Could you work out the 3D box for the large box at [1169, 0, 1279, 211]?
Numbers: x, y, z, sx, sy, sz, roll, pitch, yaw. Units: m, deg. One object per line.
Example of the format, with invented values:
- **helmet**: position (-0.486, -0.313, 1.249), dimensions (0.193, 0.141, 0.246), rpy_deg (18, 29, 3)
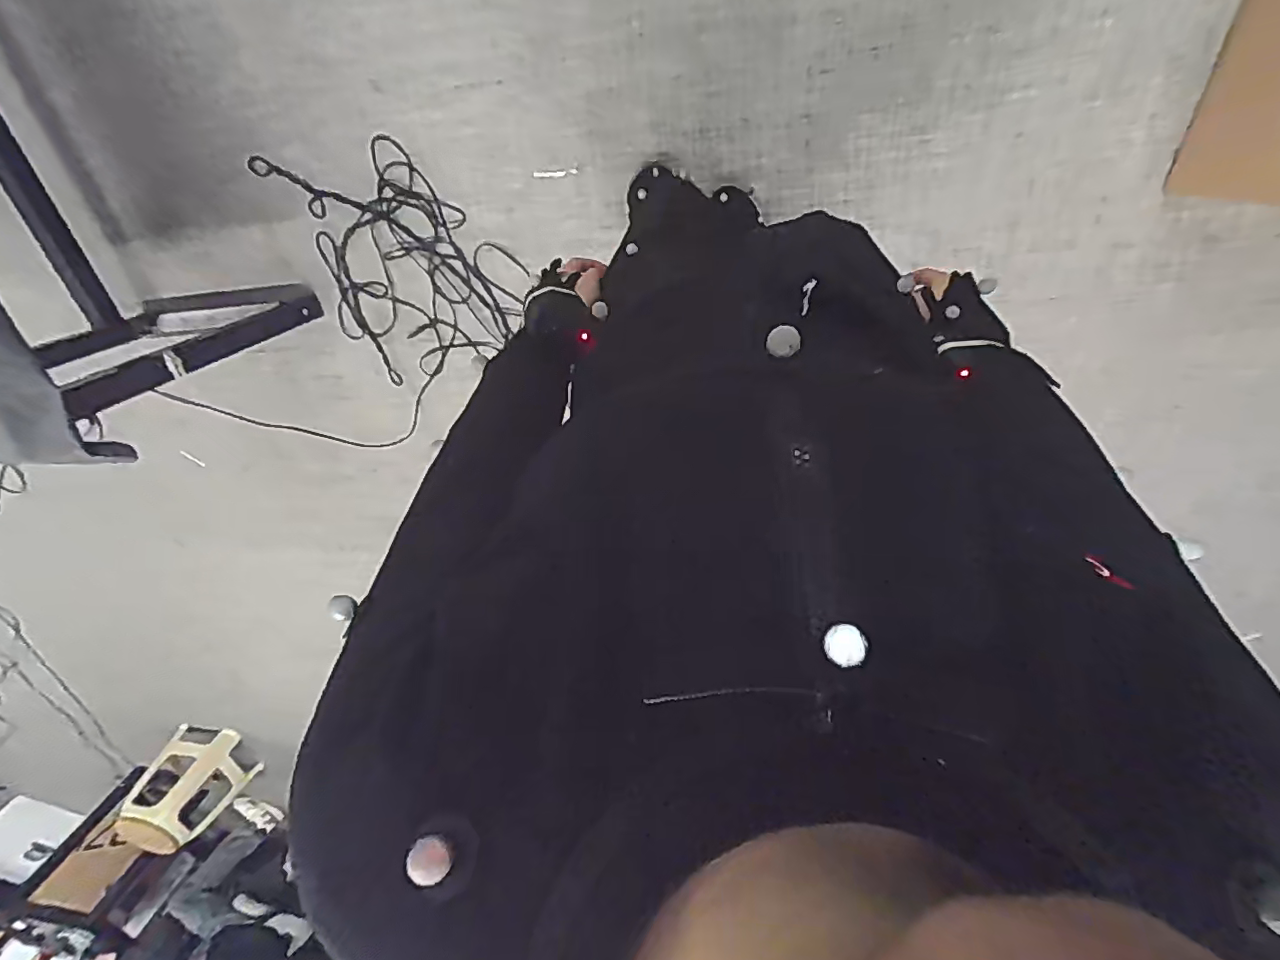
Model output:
- **large box**: position (1.080, -0.612, 0.743), dimensions (0.320, 0.320, 0.408), rpy_deg (3, 124, 10)
